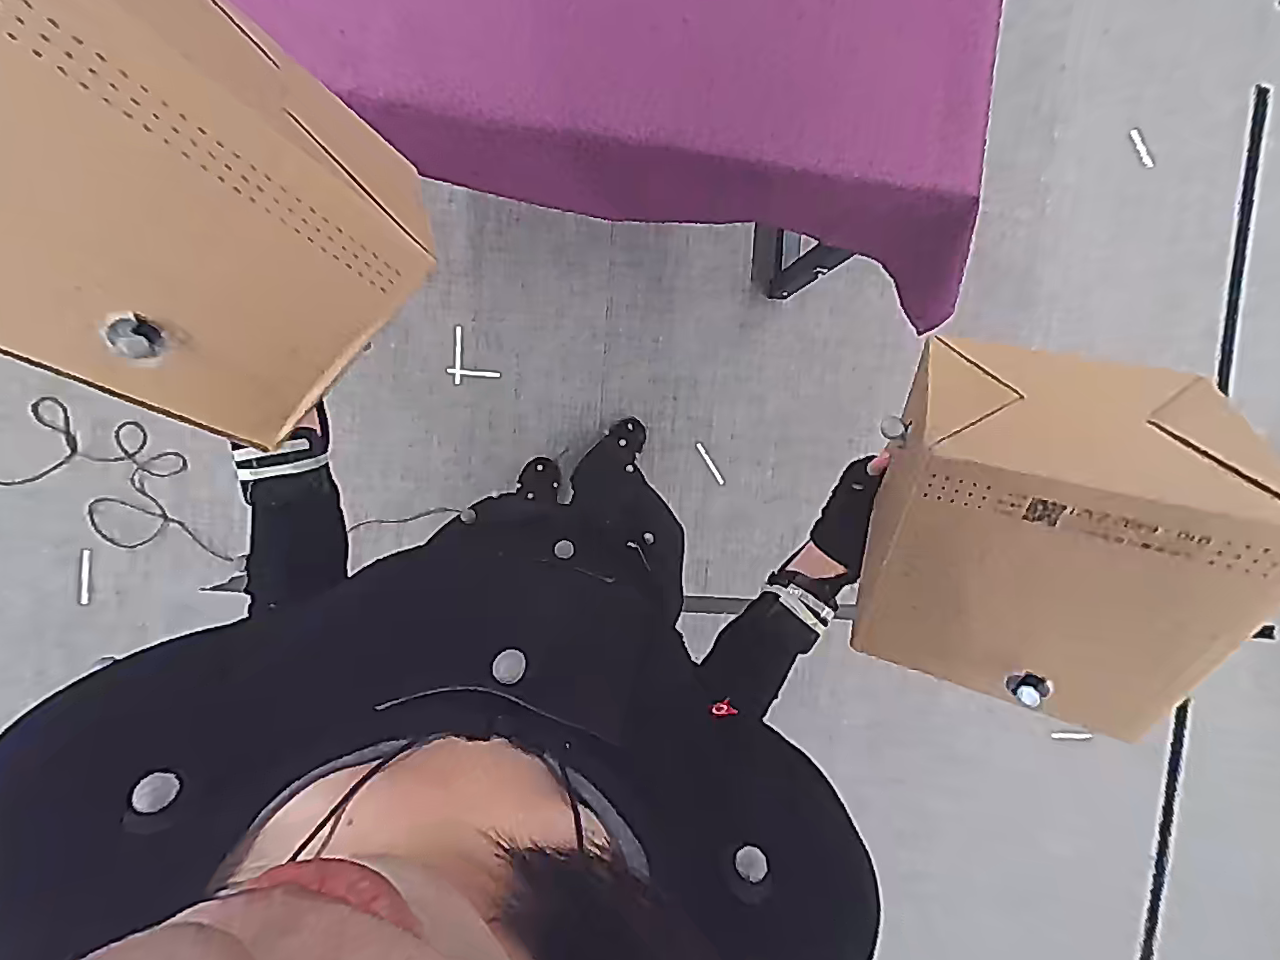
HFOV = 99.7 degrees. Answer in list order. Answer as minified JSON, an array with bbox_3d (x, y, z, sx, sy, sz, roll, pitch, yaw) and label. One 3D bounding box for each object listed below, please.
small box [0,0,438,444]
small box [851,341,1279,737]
[{"bbox_3d":[-0.239,-0.158,0.300,0.176,0.168,0.179,-40,138,14],"label":"small box"},{"bbox_3d":[0.251,0.019,0.351,0.168,0.179,0.176,15,130,20],"label":"small box"}]
